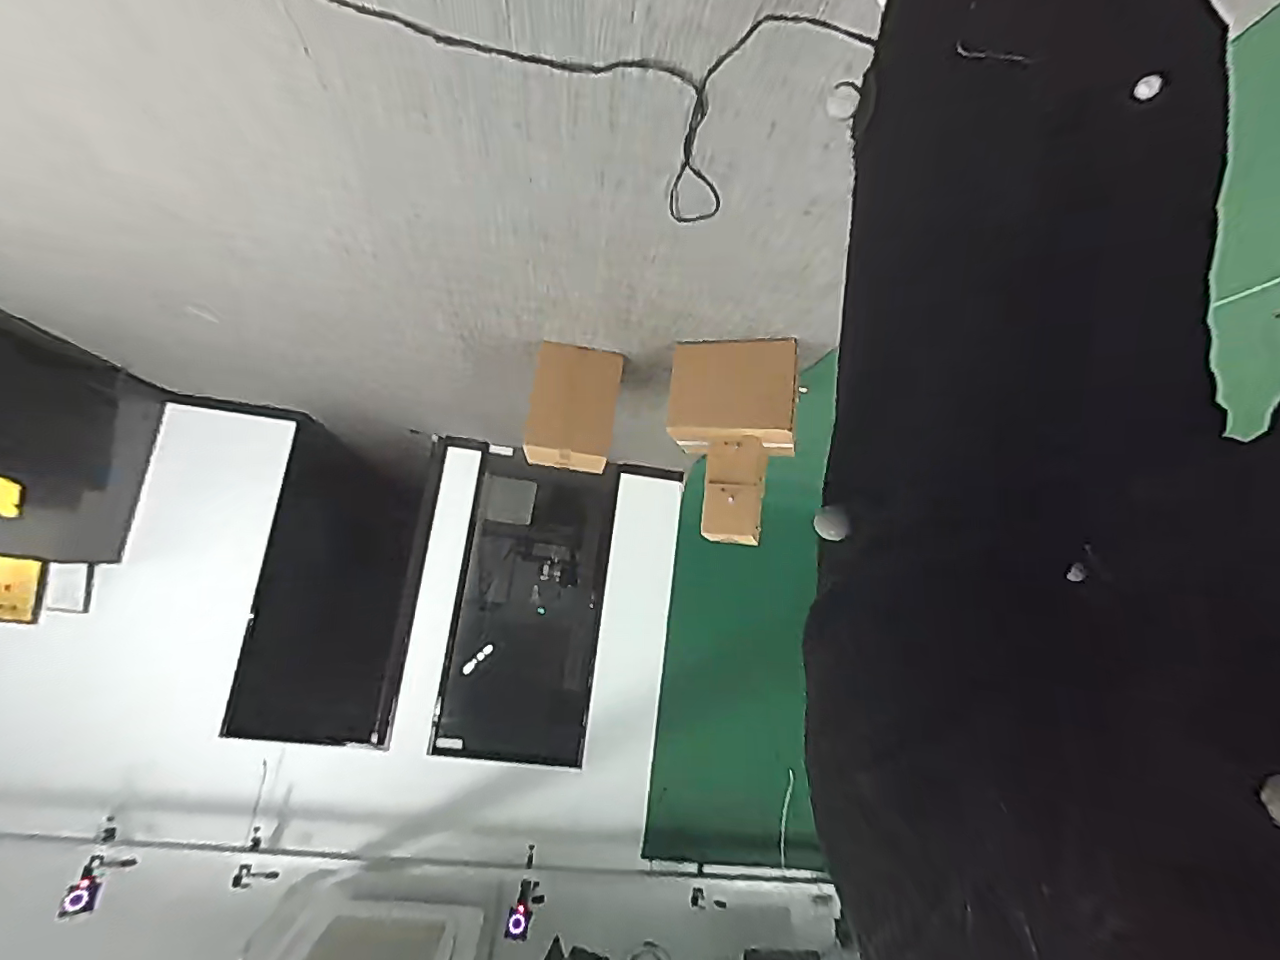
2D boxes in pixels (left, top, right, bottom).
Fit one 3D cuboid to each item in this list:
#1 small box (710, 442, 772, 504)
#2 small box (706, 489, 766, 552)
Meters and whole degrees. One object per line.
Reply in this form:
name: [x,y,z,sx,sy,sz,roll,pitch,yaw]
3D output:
small box: [0.346,-0.021,1.825,0.168,0.176,0.179,2,166,24]
small box: [0.320,0.135,1.779,0.168,0.176,0.179,3,166,20]
